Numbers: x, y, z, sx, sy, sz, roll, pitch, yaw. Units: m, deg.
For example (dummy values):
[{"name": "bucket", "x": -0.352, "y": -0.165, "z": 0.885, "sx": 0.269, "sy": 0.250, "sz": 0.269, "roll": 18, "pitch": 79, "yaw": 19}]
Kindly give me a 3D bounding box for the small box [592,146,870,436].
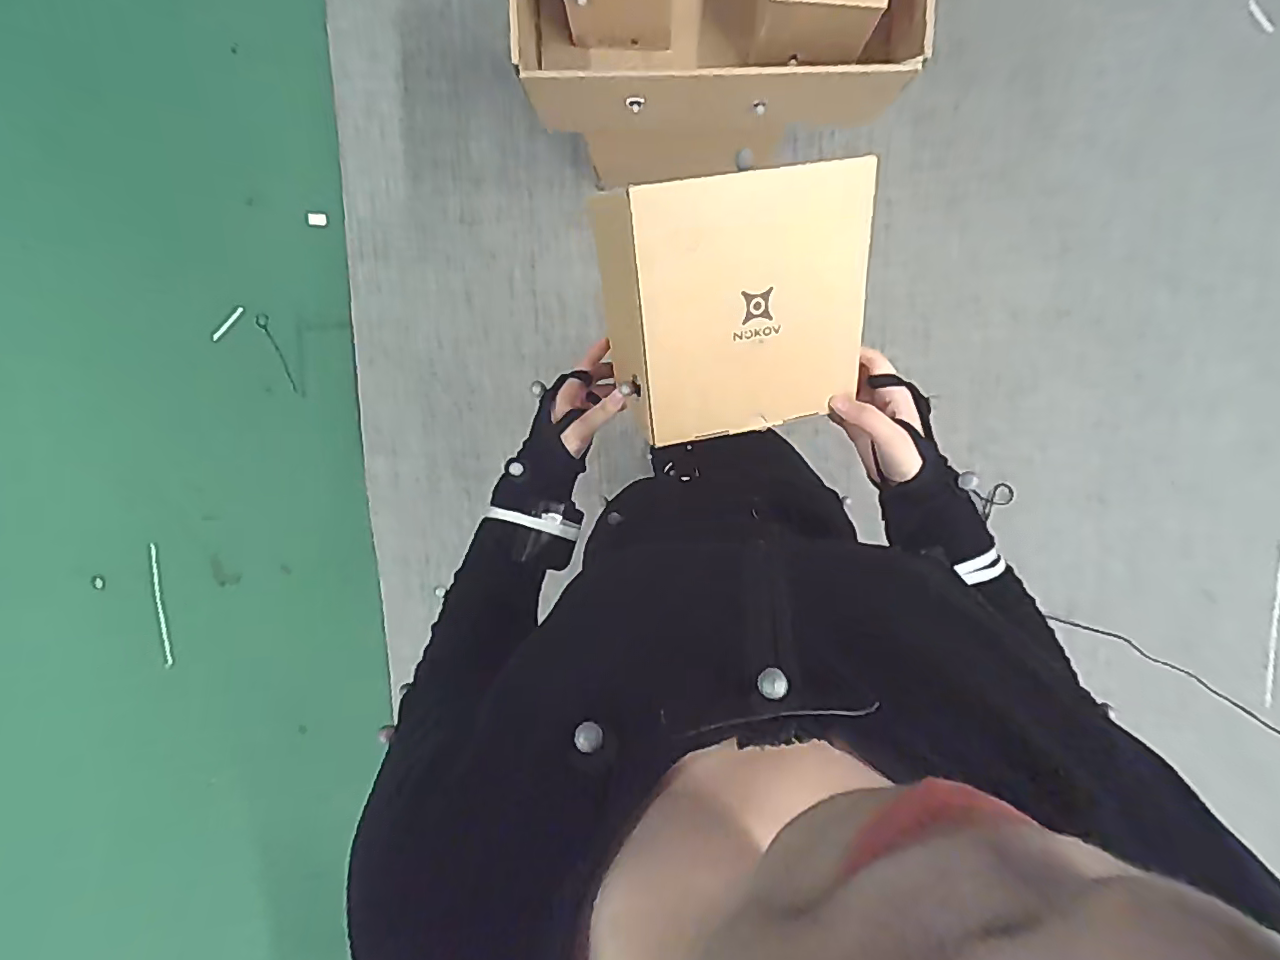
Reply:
[{"name": "small box", "x": 0.060, "y": -0.158, "z": 0.444, "sx": 0.168, "sy": 0.176, "sz": 0.179, "roll": -11, "pitch": 119, "yaw": -8}]
